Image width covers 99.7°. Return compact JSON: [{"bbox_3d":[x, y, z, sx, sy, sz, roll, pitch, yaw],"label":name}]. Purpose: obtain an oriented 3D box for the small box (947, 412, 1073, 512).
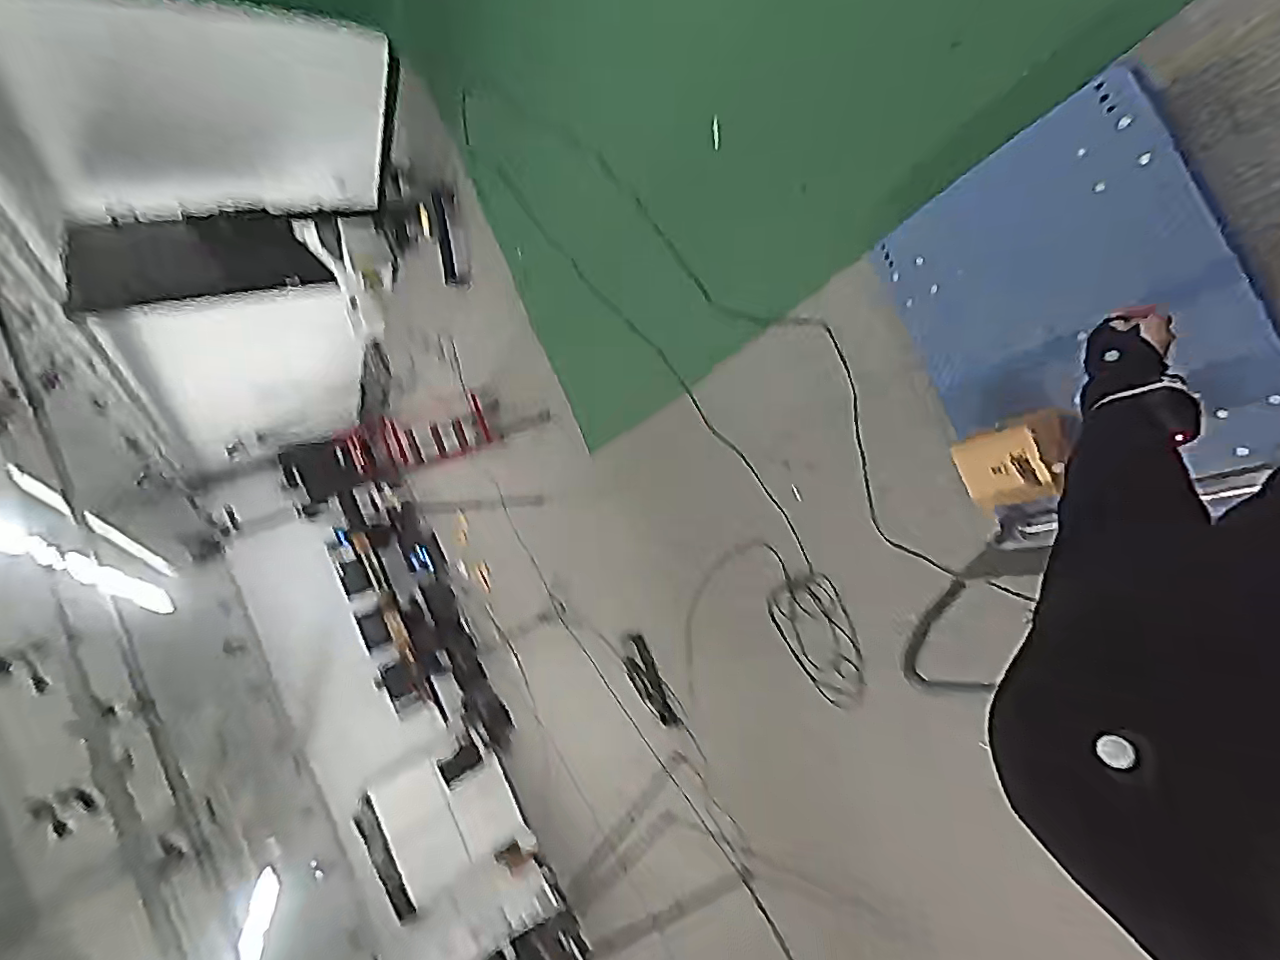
[{"bbox_3d":[0.869,-0.044,1.262,0.179,0.176,0.168,-26,86,57],"label":"small box"}]
